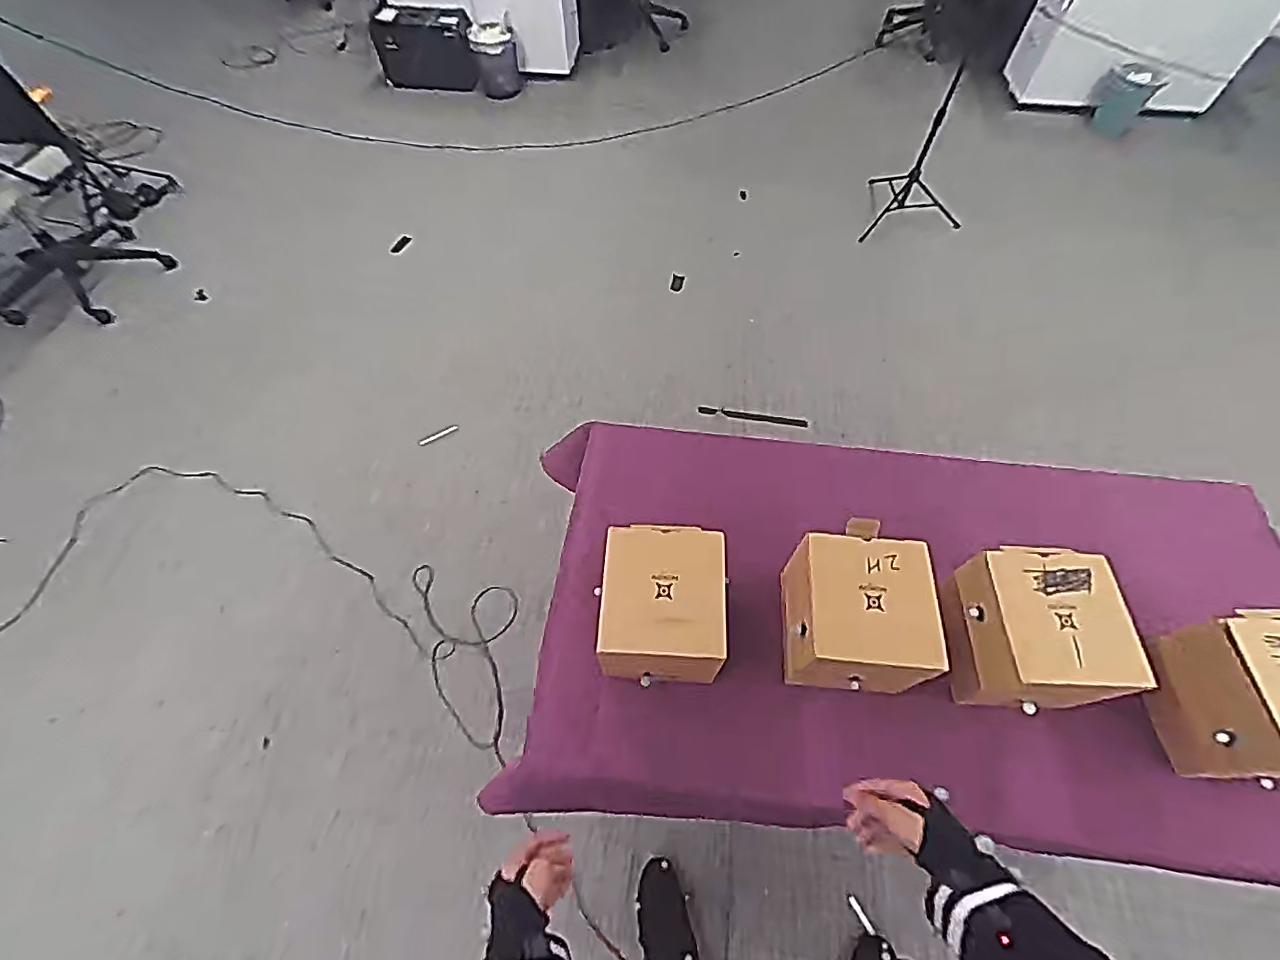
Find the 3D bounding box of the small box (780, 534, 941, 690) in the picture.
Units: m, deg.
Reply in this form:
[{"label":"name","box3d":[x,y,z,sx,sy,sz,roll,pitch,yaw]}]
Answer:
[{"label":"small box","box3d":[0.304,0.198,0.788,0.168,0.176,0.179,5,59,3]}]

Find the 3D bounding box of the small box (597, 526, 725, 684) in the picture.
[{"label":"small box","box3d":[0.030,0.186,0.793,0.168,0.176,0.179,3,59,2]}]

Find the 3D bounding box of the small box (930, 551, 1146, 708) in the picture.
[{"label":"small box","box3d":[0.545,0.218,0.777,0.168,0.176,0.179,2,60,1]}]
